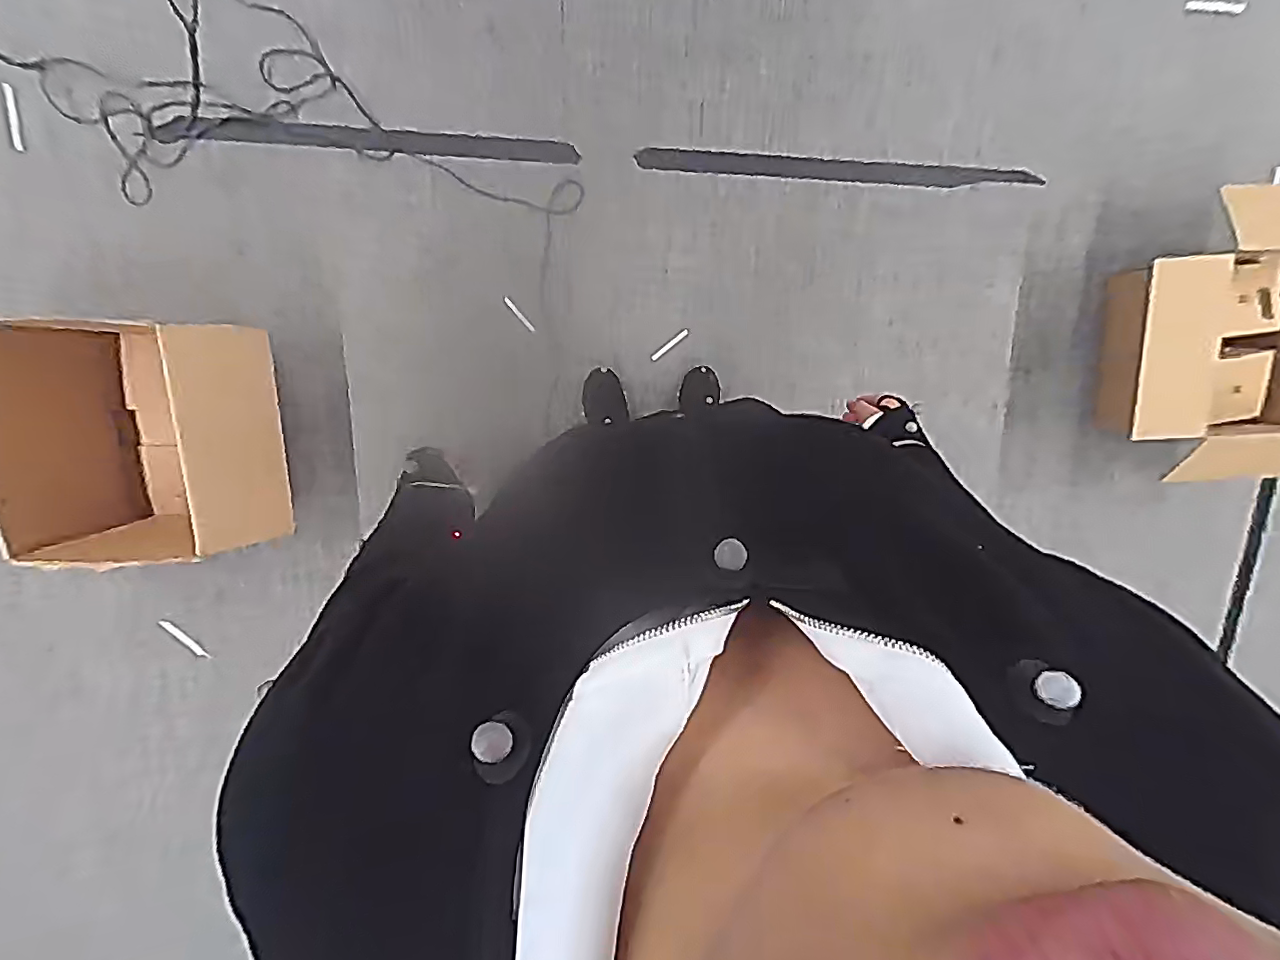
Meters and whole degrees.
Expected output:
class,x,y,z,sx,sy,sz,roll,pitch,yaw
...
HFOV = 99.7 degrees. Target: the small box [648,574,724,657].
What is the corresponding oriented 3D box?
class,x,y,z,sx,sy,sz,roll,pitch,yaw
small box,0.118,0.356,1.446,0.179,0.176,0.168,2,99,-2
